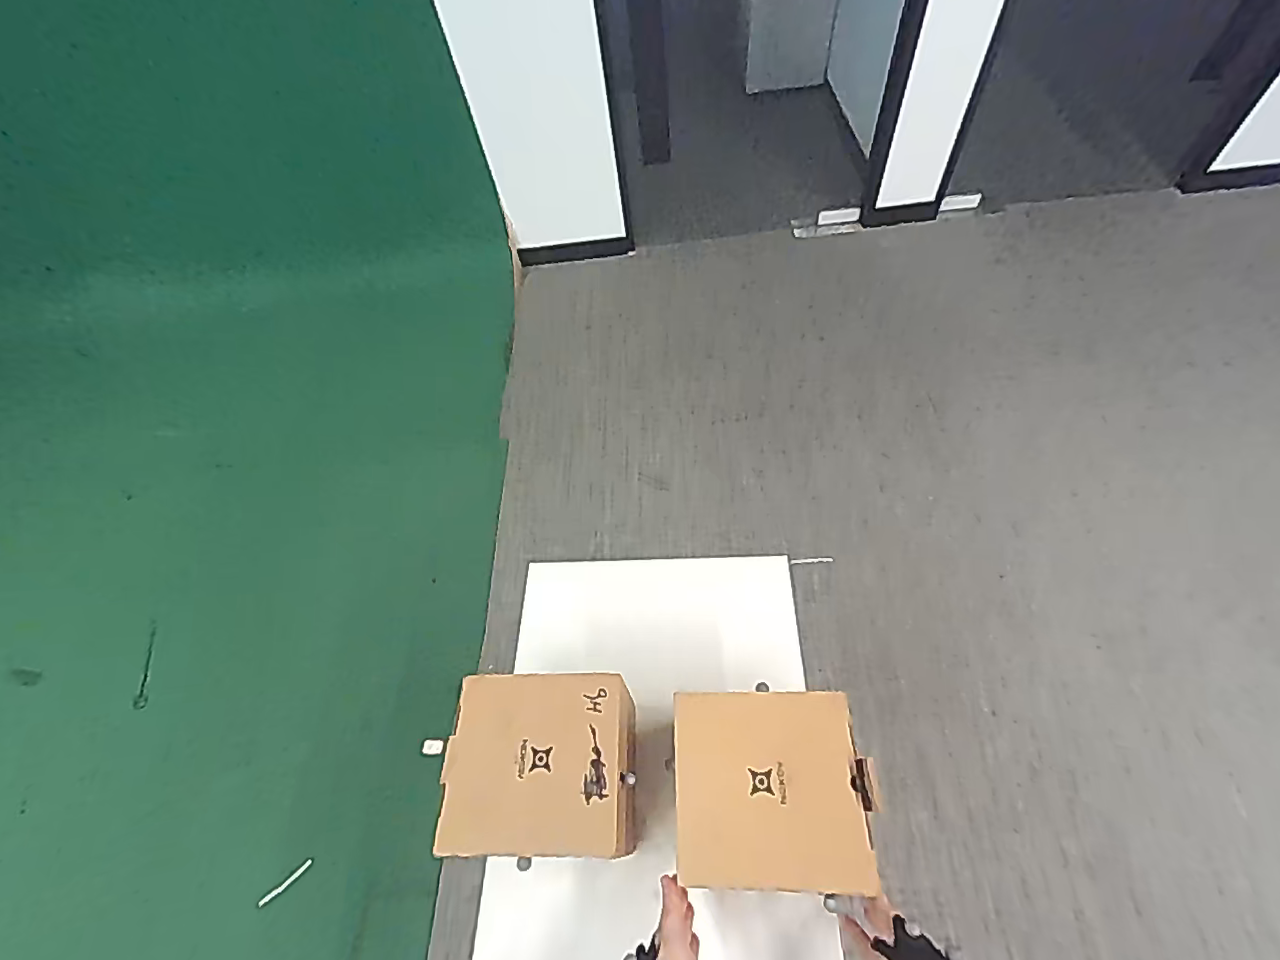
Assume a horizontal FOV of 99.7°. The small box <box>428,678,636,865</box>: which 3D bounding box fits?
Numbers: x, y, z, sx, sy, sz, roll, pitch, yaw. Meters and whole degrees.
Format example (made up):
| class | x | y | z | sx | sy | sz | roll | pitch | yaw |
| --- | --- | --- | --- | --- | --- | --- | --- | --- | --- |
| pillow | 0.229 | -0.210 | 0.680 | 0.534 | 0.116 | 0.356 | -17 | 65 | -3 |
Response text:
| class | x | y | z | sx | sy | sz | roll | pitch | yaw |
| --- | --- | --- | --- | --- | --- | --- | --- | --- | --- |
| small box | -0.102 | 0.327 | 0.605 | 0.179 | 0.176 | 0.168 | -3 | 56 | 5 |
